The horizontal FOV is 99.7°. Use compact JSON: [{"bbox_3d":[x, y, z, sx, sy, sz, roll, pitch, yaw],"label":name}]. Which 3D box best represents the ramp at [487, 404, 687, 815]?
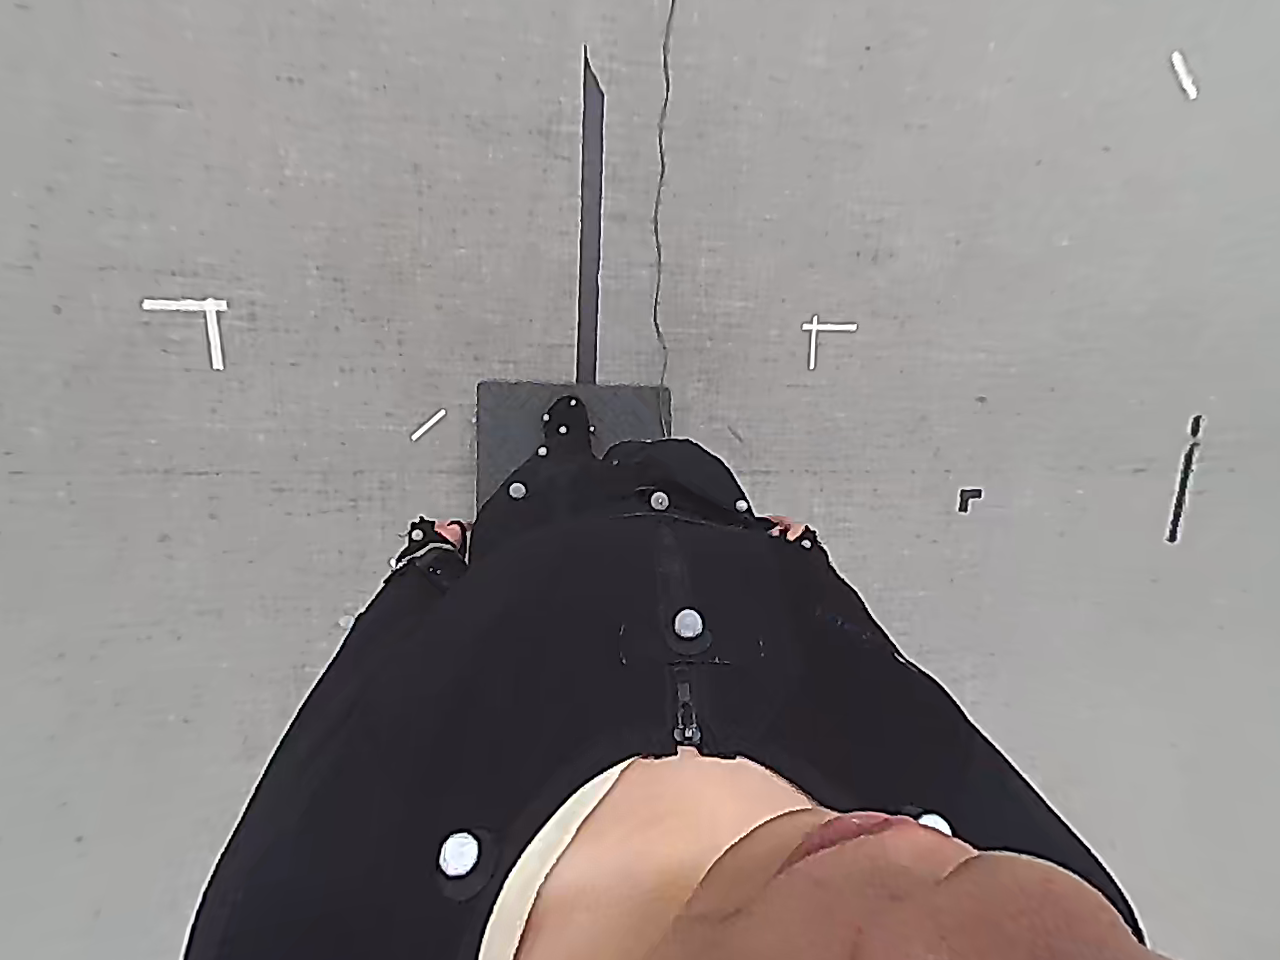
[{"bbox_3d":[-0.133,0.304,1.357,0.509,0.206,0.991,-2,97,-6],"label":"ramp"}]
